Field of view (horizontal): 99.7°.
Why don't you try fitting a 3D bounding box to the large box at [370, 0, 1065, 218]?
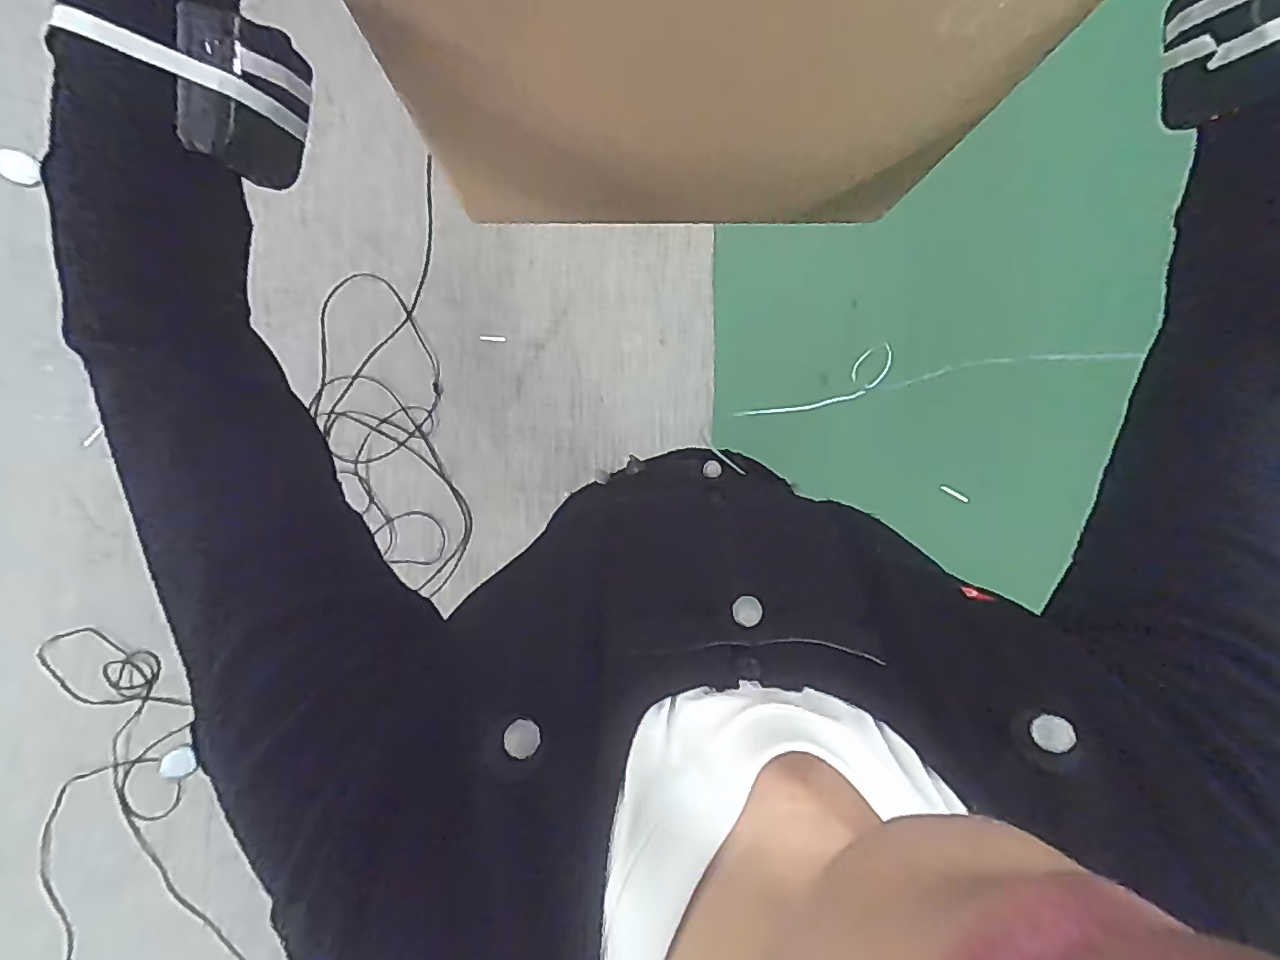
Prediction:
[{"bbox_3d":[0.037,-0.412,0.383,0.408,0.320,0.320,-2,90,-4],"label":"large box"}]
